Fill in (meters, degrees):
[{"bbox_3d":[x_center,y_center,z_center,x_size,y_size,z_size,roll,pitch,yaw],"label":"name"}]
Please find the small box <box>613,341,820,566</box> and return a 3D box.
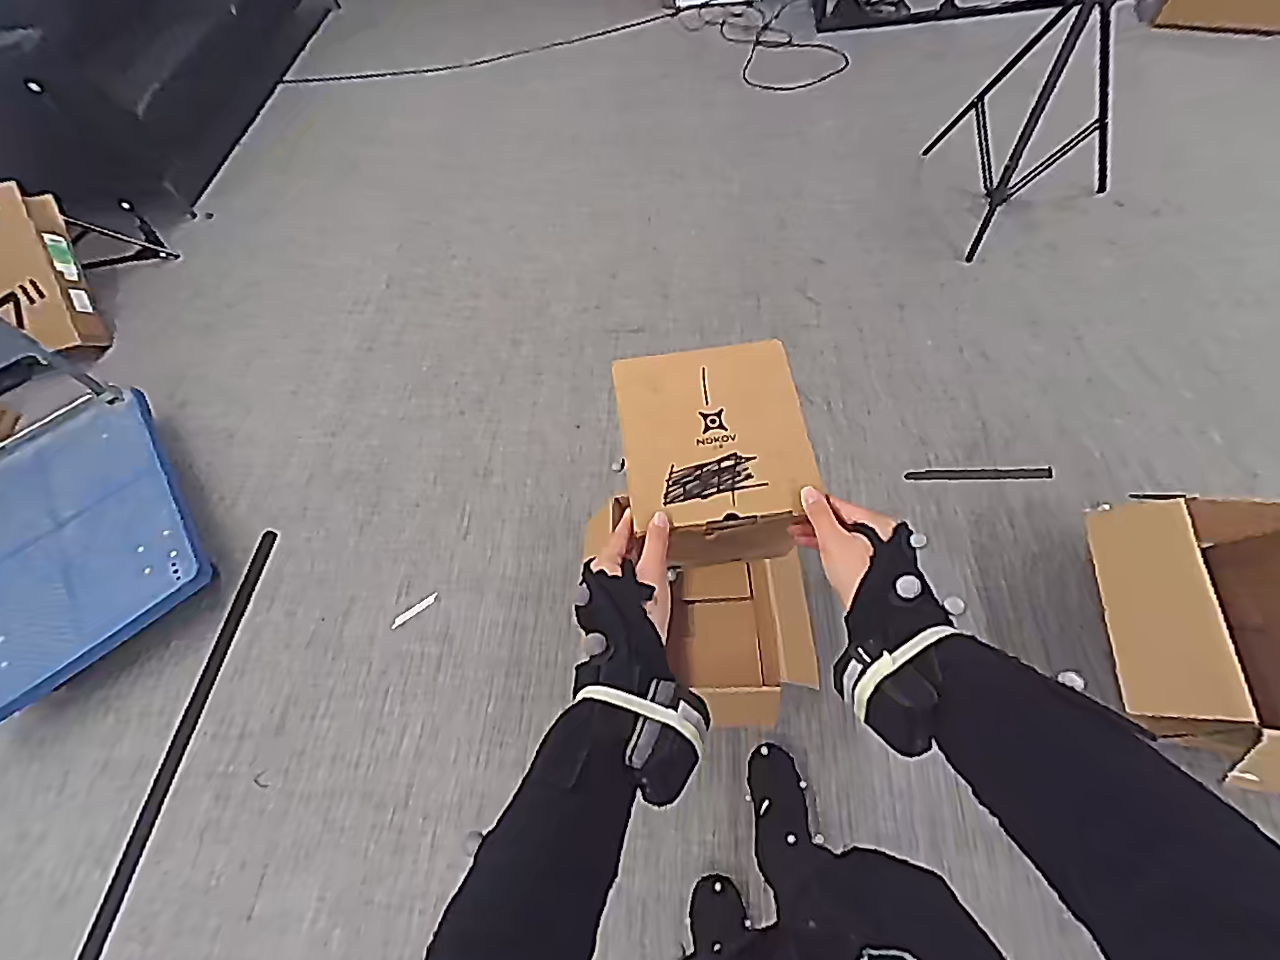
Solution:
[{"bbox_3d":[0.067,-0.015,0.564,0.168,0.176,0.179,-8,67,-1],"label":"small box"}]
